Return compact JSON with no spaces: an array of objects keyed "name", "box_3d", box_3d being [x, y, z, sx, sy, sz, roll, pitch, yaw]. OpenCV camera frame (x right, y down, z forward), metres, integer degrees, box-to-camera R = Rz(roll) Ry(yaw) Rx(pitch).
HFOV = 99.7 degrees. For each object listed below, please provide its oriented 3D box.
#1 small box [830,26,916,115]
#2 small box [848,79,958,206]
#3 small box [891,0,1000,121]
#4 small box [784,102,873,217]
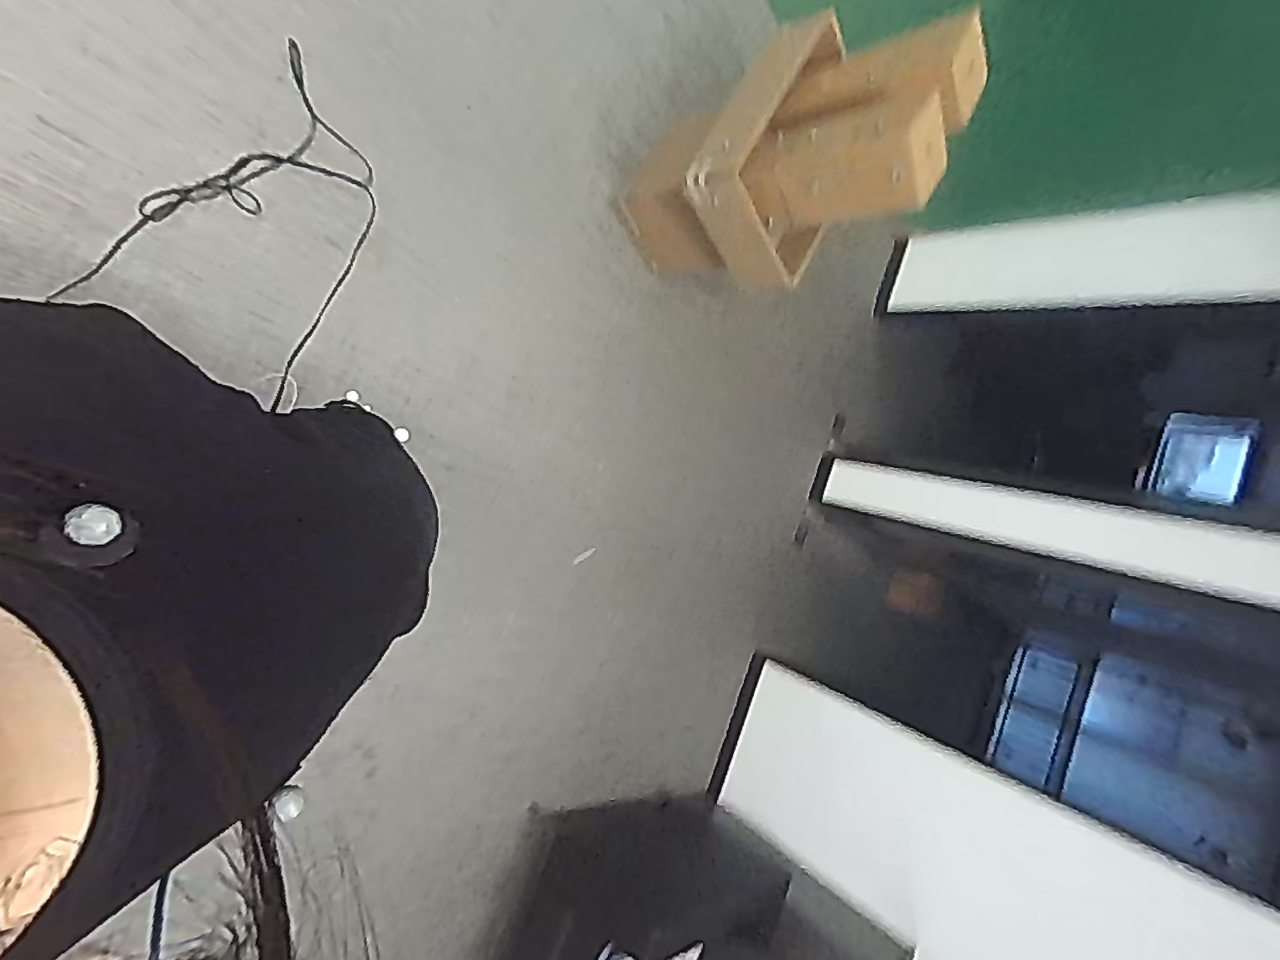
[{"name":"small box","box_3d":[0.629,-1.029,1.426,0.168,0.176,0.179,39,76,-42]},{"name":"small box","box_3d":[0.601,-0.761,1.241,0.168,0.176,0.179,-55,132,-17]},{"name":"small box","box_3d":[0.737,-0.995,1.306,0.168,0.176,0.179,38,77,-42]},{"name":"small box","box_3d":[0.490,-0.793,1.358,0.168,0.176,0.179,-56,131,-16]}]
